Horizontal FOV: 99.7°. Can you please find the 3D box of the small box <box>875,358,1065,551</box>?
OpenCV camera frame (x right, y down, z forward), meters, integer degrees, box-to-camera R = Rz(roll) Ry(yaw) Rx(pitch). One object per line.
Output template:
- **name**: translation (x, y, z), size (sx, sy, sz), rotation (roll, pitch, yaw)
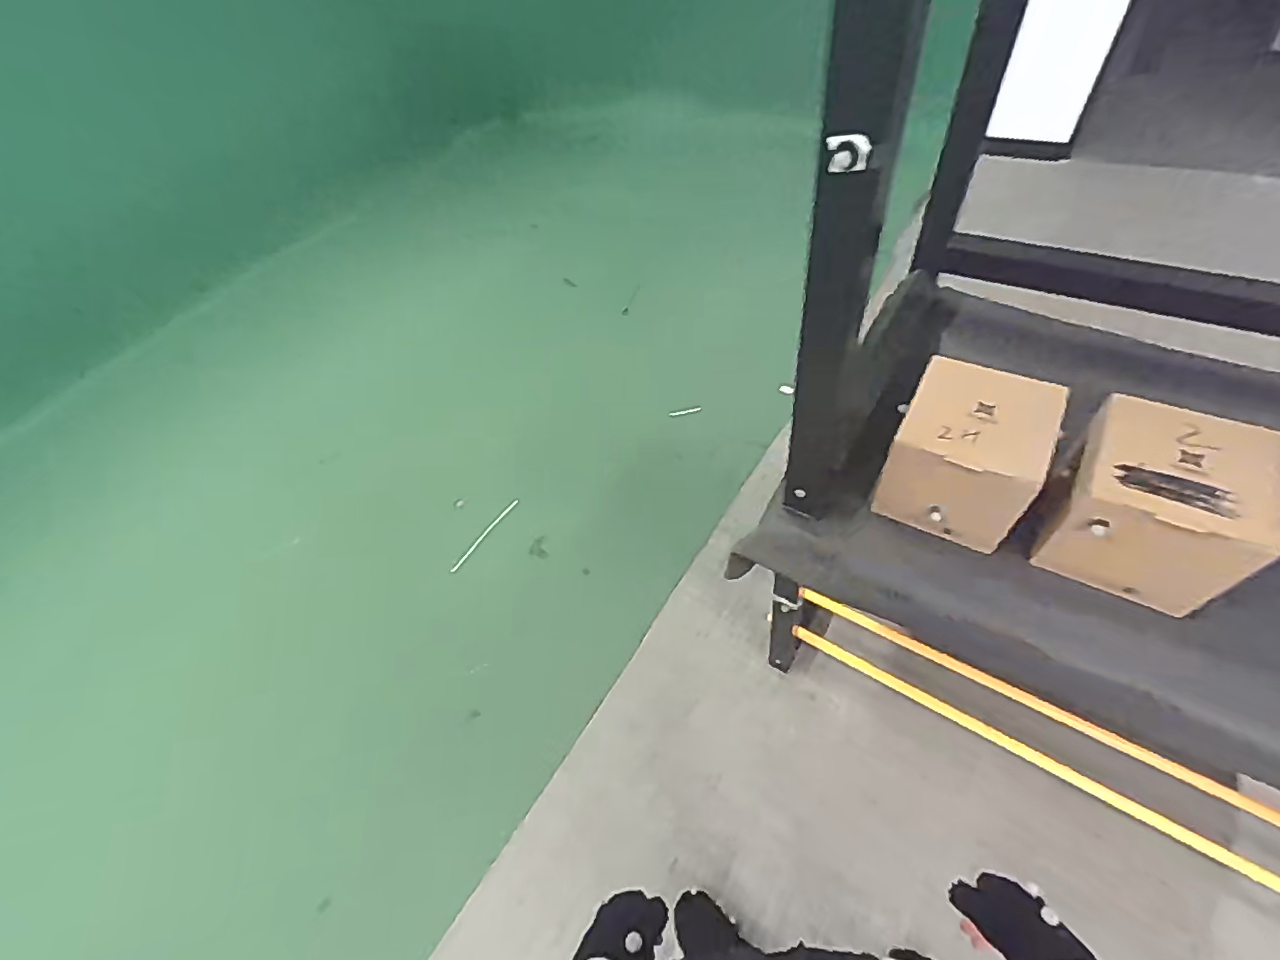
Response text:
- **small box**: translation (0.448, -0.034, 0.755), size (0.168, 0.176, 0.179), rotation (23, 61, 25)
